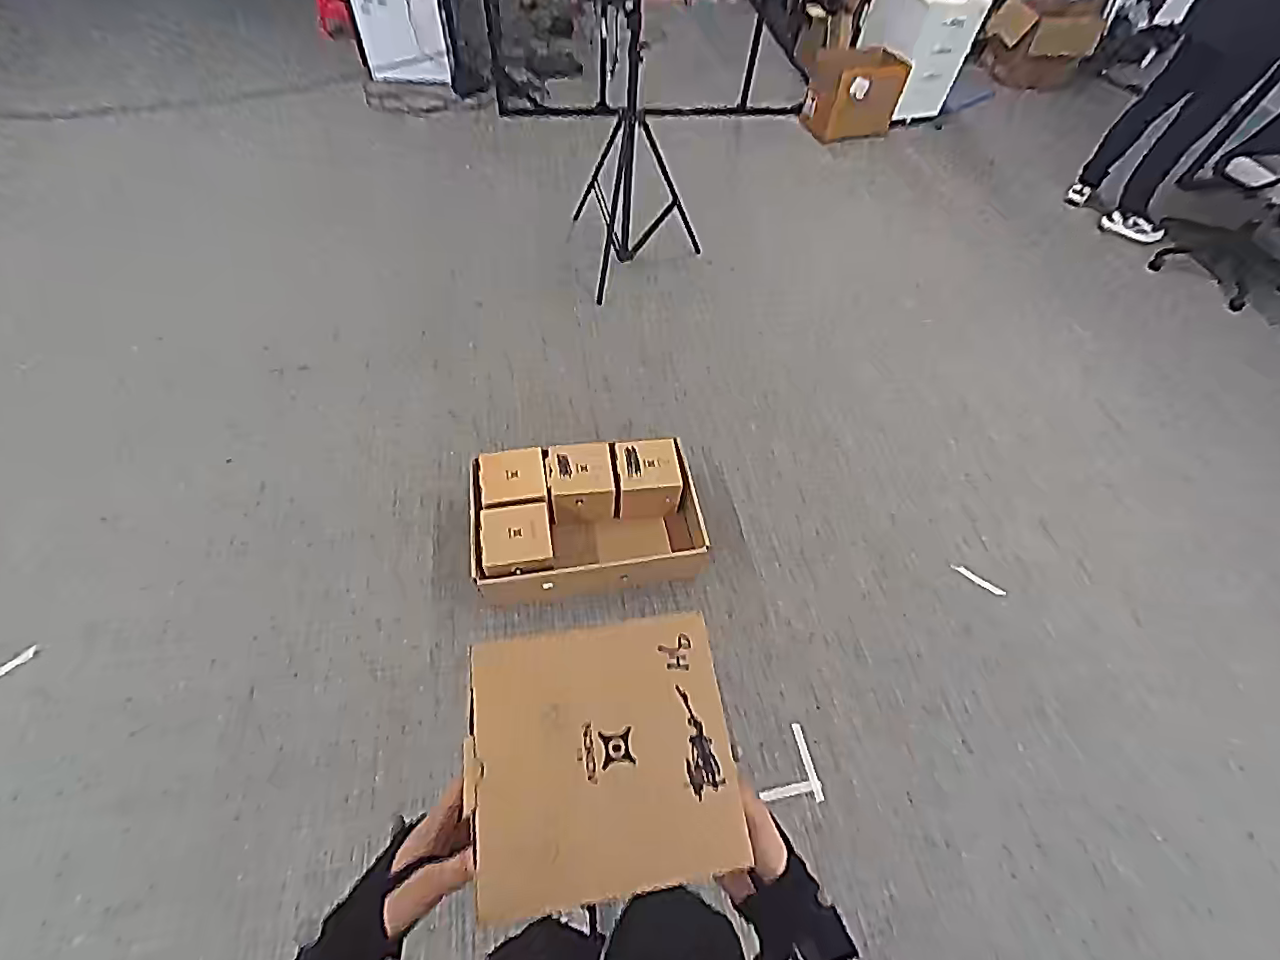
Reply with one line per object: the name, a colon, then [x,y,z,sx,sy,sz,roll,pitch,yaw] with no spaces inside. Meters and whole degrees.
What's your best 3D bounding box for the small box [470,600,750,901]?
small box: [-0.031,0.208,0.439,0.179,0.176,0.168,-6,65,-9]
